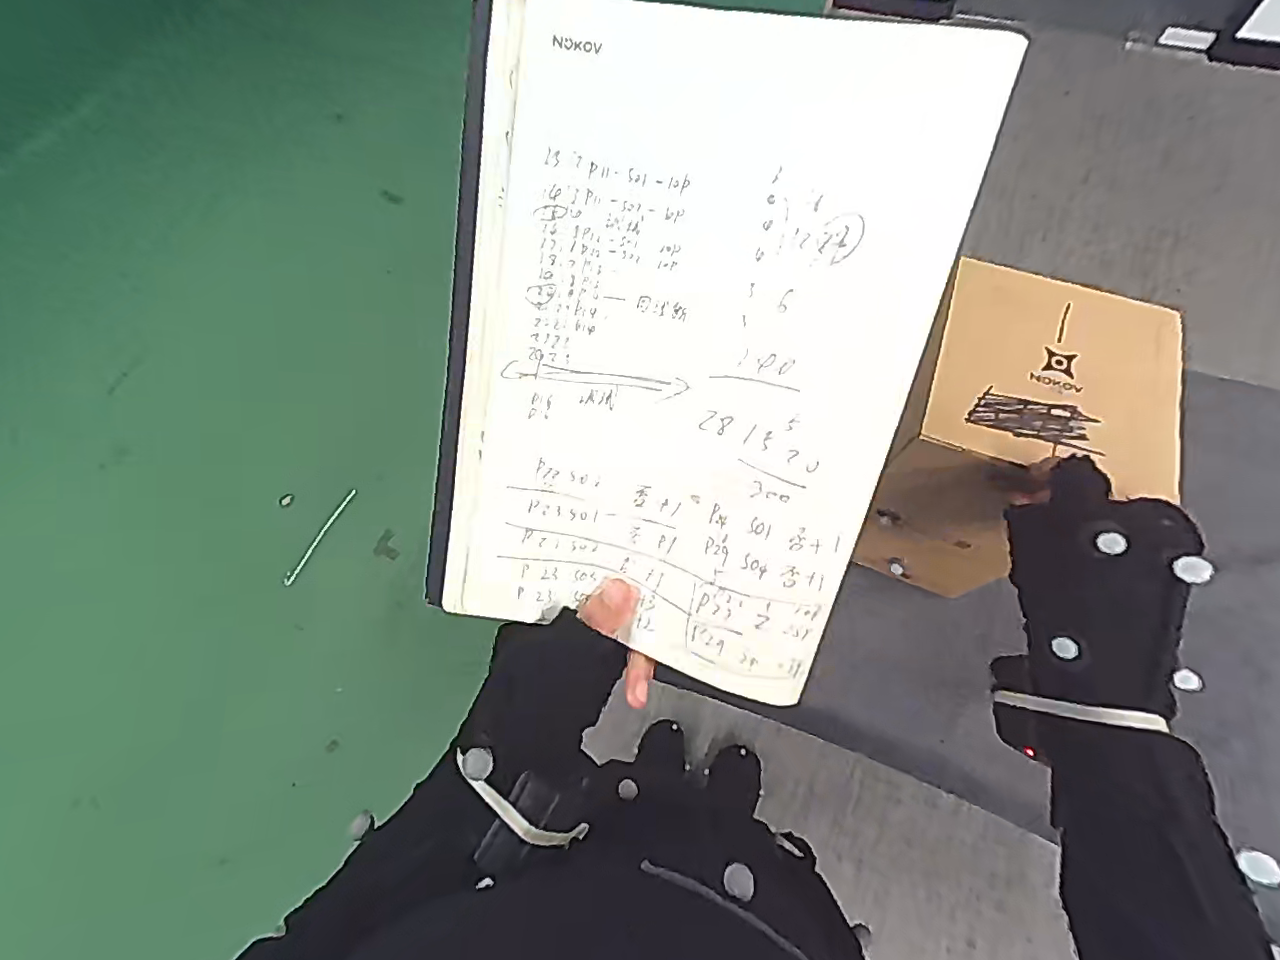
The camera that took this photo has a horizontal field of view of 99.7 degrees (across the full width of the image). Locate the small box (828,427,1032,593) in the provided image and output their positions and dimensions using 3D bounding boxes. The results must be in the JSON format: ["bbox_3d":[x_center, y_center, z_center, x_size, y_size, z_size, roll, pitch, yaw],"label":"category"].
[{"bbox_3d":[0.334,0.008,0.626,0.168,0.176,0.179,21,70,14],"label":"small box"}]

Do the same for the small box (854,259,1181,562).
[{"bbox_3d":[0.304,-0.048,0.467,0.168,0.176,0.179,19,68,9],"label":"small box"}]
